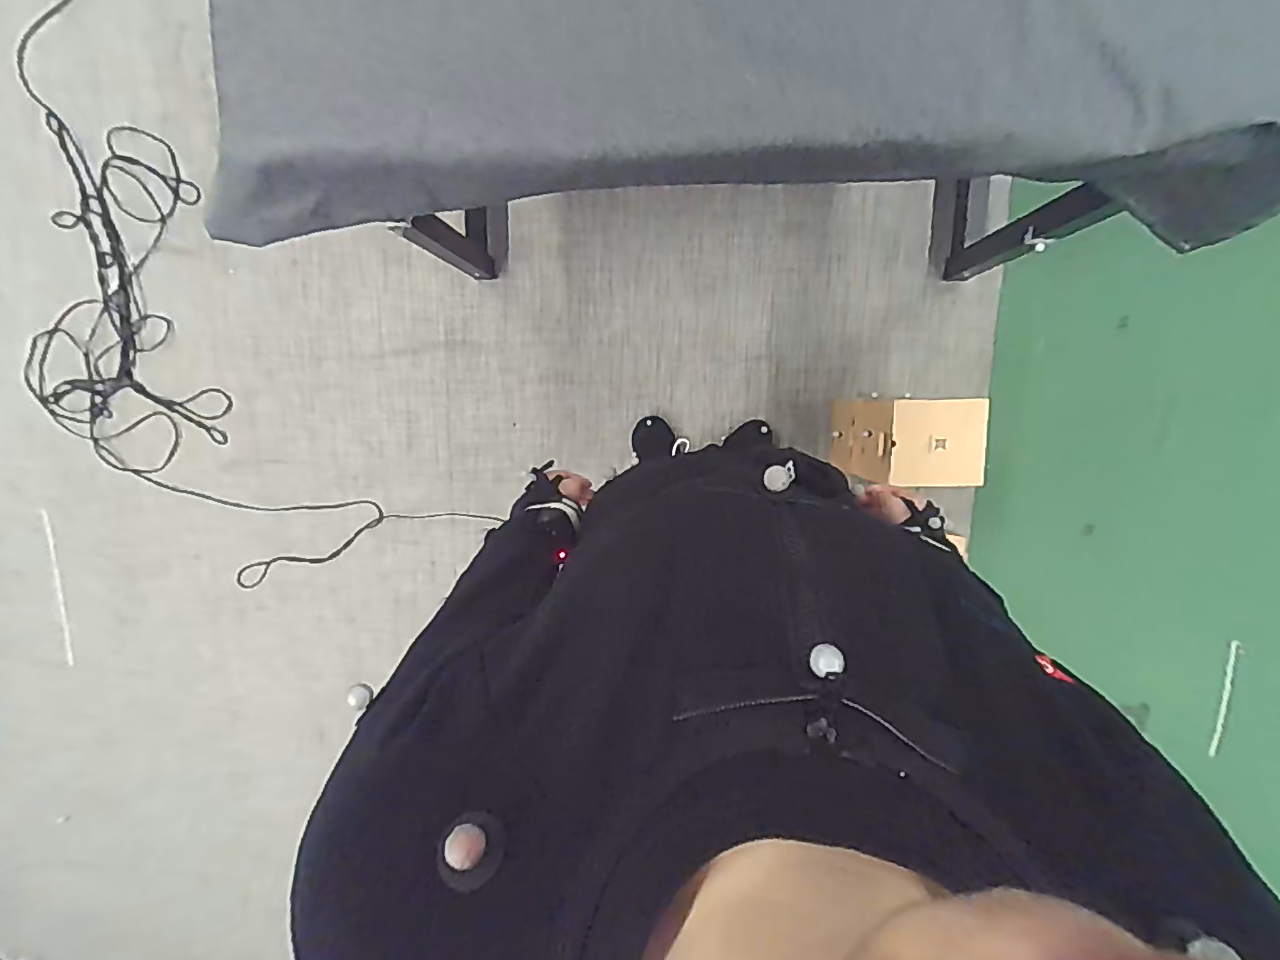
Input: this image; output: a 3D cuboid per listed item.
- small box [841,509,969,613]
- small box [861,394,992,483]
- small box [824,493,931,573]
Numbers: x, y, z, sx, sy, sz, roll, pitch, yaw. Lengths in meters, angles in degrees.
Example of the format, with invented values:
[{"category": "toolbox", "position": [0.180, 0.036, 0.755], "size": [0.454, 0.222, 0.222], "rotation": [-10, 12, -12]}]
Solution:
[{"category": "small box", "position": [0.538, 0.159, 1.119], "size": [0.179, 0.176, 0.168], "rotation": [6, 98, 5]}, {"category": "small box", "position": [0.562, -0.088, 1.079], "size": [0.179, 0.176, 0.168], "rotation": [-1, 98, 4]}, {"category": "small box", "position": [0.553, 0.128, 1.280], "size": [0.179, 0.176, 0.168], "rotation": [6, 98, 5]}]
